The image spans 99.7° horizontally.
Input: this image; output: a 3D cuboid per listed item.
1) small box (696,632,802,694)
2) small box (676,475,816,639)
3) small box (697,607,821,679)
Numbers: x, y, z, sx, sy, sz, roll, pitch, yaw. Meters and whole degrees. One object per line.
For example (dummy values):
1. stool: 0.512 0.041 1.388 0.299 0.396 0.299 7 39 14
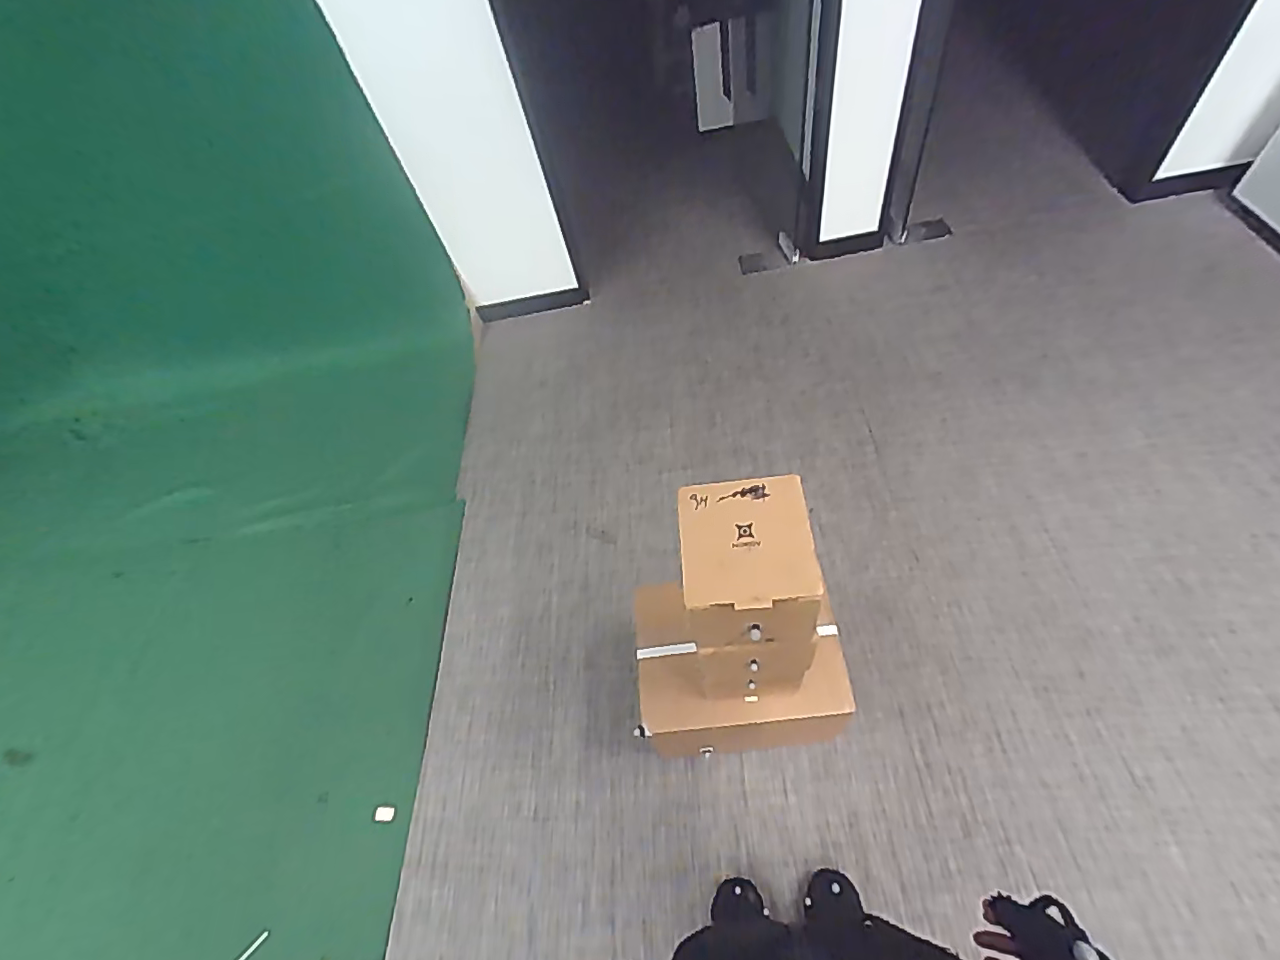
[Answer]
1. small box: 0.198 0.298 1.019 0.179 0.176 0.168 -7 57 6
2. small box: 0.145 0.116 0.752 0.168 0.176 0.179 -6 57 9
3. small box: 0.176 0.213 0.881 0.179 0.176 0.168 -10 56 4
